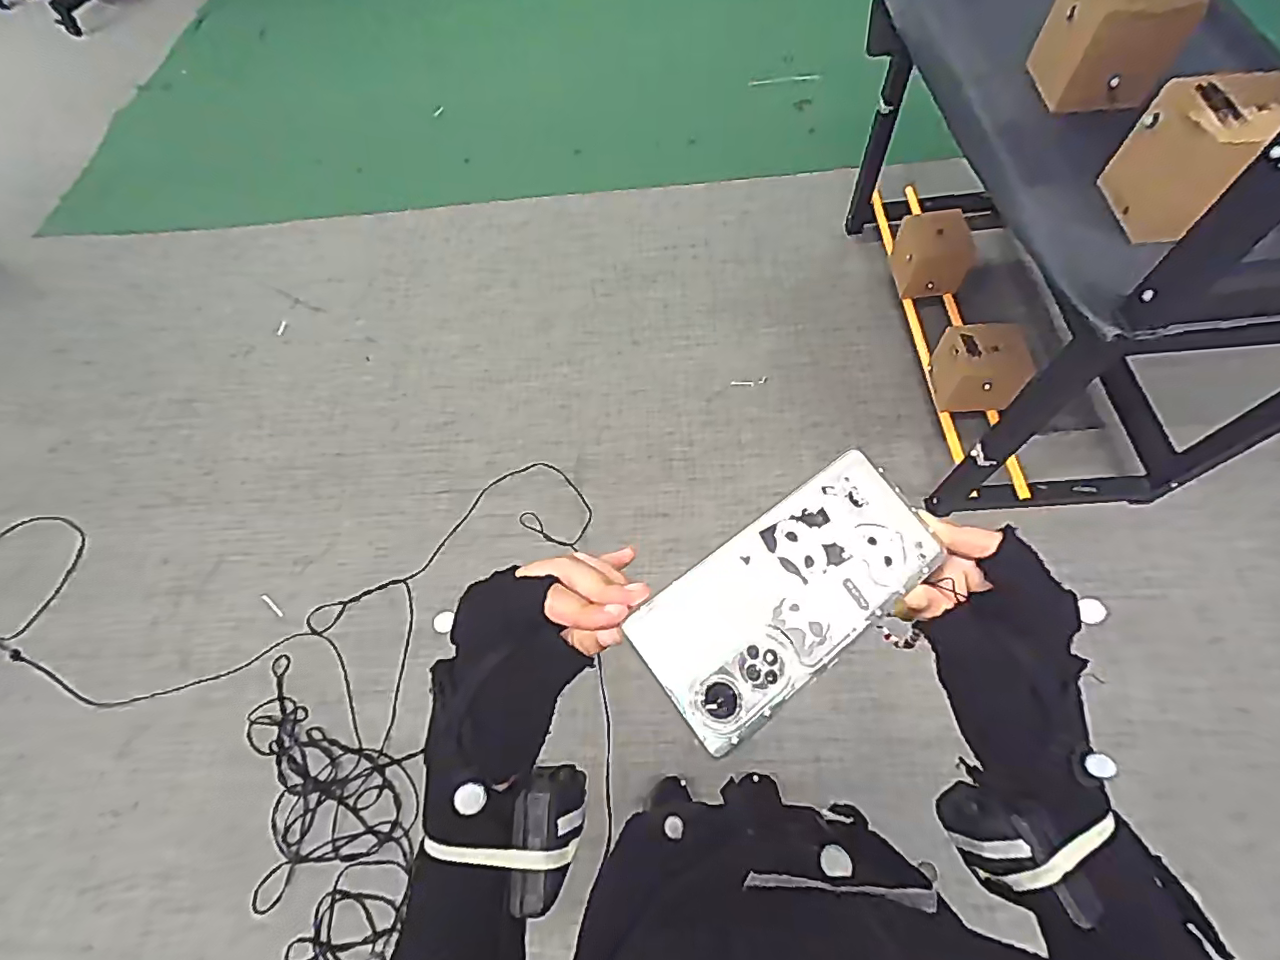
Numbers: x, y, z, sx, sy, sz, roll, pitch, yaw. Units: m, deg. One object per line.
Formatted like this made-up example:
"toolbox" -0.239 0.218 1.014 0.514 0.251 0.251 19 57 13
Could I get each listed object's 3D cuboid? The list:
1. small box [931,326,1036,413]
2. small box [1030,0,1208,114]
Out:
"small box" 0.905 -0.290 1.449 0.179 0.176 0.168 -1 63 6
"small box" 0.886 -0.831 1.025 0.168 0.176 0.179 -1 63 6
